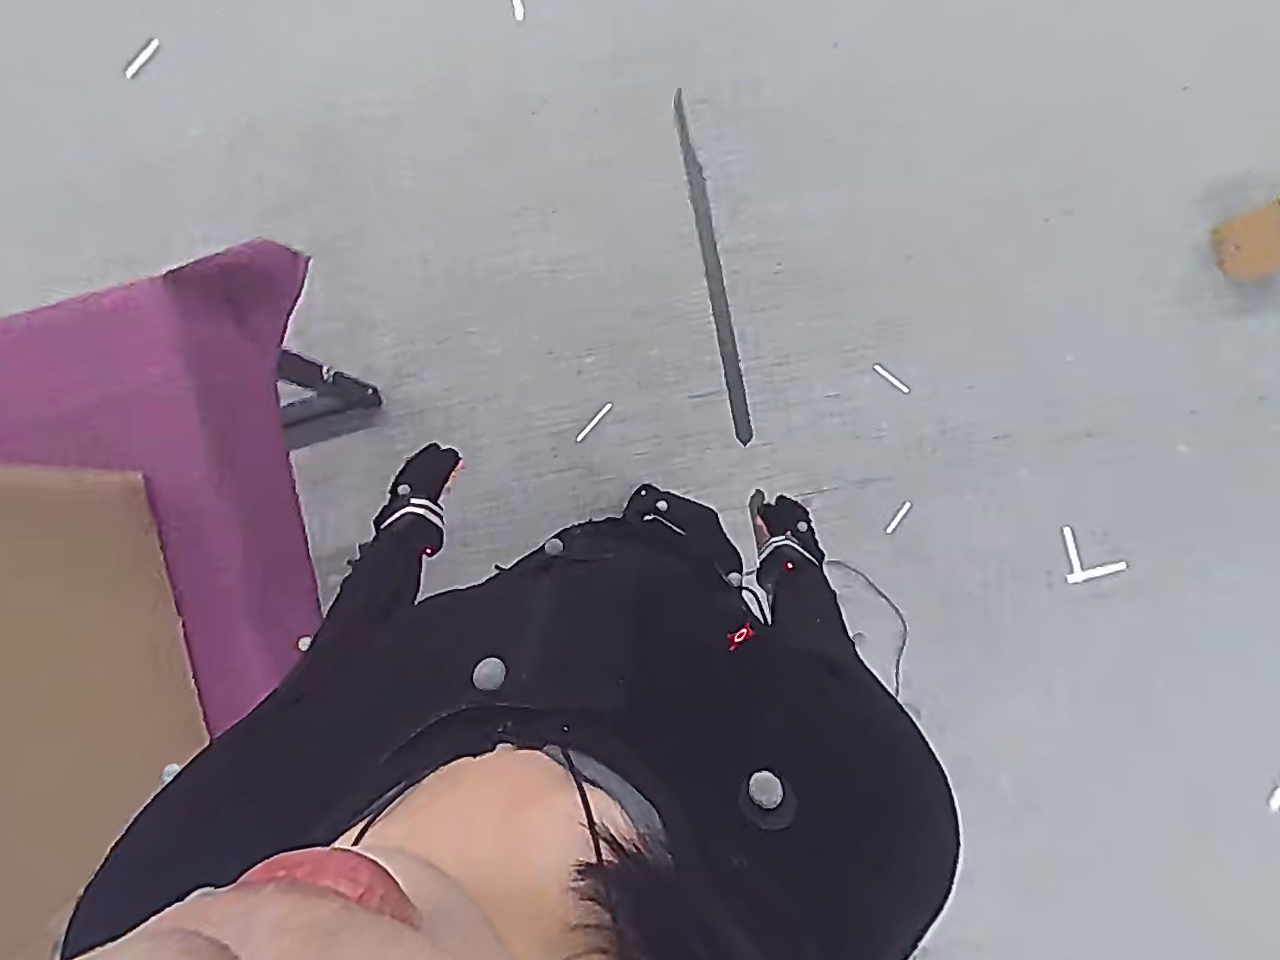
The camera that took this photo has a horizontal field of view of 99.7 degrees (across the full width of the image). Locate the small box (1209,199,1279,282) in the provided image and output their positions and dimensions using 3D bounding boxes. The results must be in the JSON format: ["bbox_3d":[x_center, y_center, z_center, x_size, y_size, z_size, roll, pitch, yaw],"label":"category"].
[{"bbox_3d":[1.767,-0.670,1.508,0.168,0.176,0.179,-13,88,-1],"label":"small box"}]
